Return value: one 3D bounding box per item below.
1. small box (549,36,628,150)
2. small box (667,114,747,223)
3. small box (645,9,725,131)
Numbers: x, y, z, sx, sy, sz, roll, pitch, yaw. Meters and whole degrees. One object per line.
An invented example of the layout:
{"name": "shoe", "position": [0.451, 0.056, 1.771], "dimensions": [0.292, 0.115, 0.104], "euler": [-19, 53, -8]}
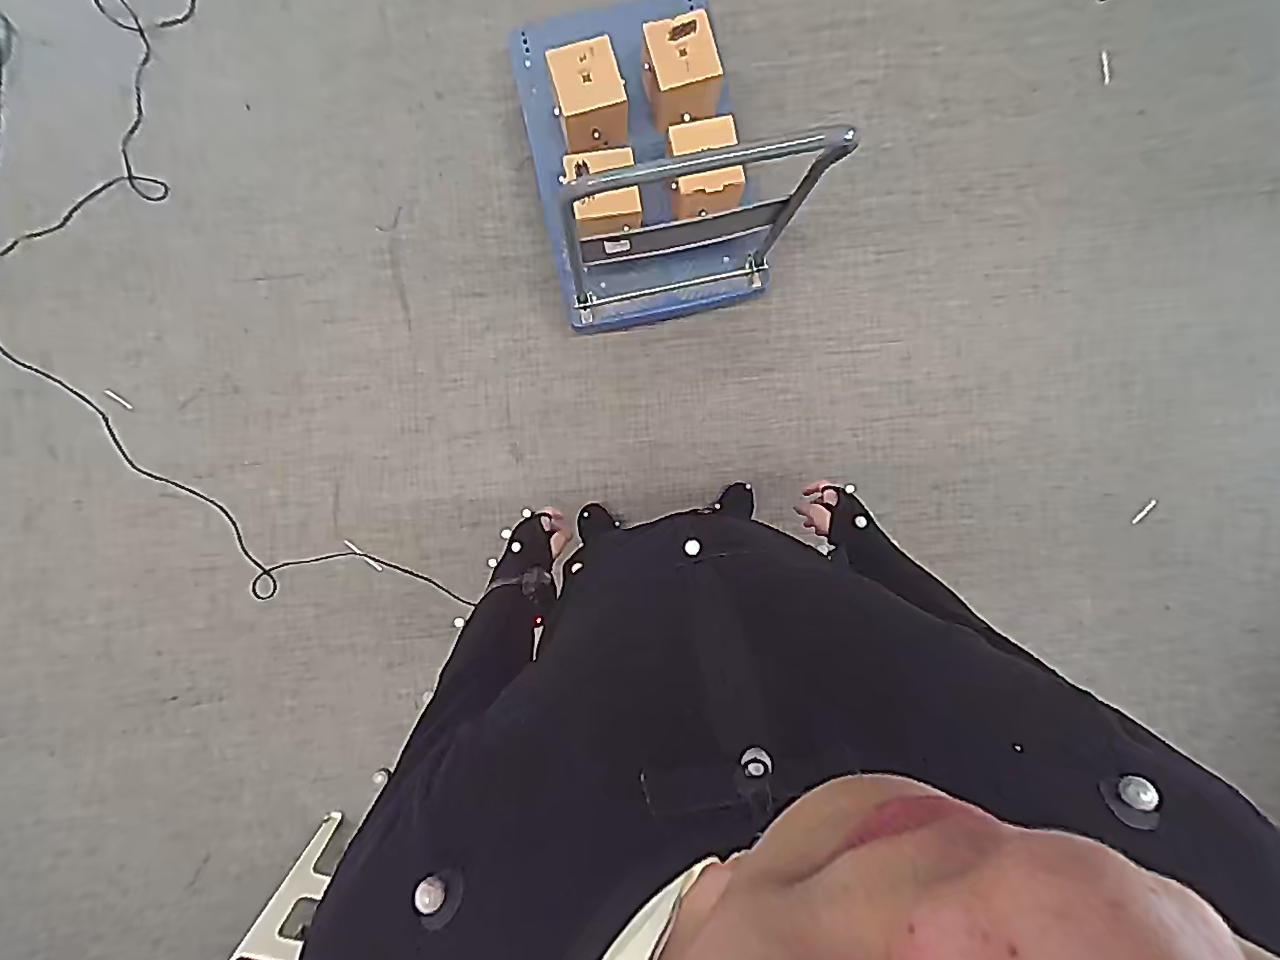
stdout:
{"name": "small box", "position": [-0.129, -1.012, 1.435], "dimensions": [0.168, 0.176, 0.179], "euler": [-16, 89, -2]}
{"name": "small box", "position": [0.172, -0.819, 1.435], "dimensions": [0.168, 0.176, 0.179], "euler": [-12, 89, -1]}
{"name": "small box", "position": [0.113, -1.083, 1.440], "dimensions": [0.168, 0.176, 0.179], "euler": [-16, 90, 0]}
